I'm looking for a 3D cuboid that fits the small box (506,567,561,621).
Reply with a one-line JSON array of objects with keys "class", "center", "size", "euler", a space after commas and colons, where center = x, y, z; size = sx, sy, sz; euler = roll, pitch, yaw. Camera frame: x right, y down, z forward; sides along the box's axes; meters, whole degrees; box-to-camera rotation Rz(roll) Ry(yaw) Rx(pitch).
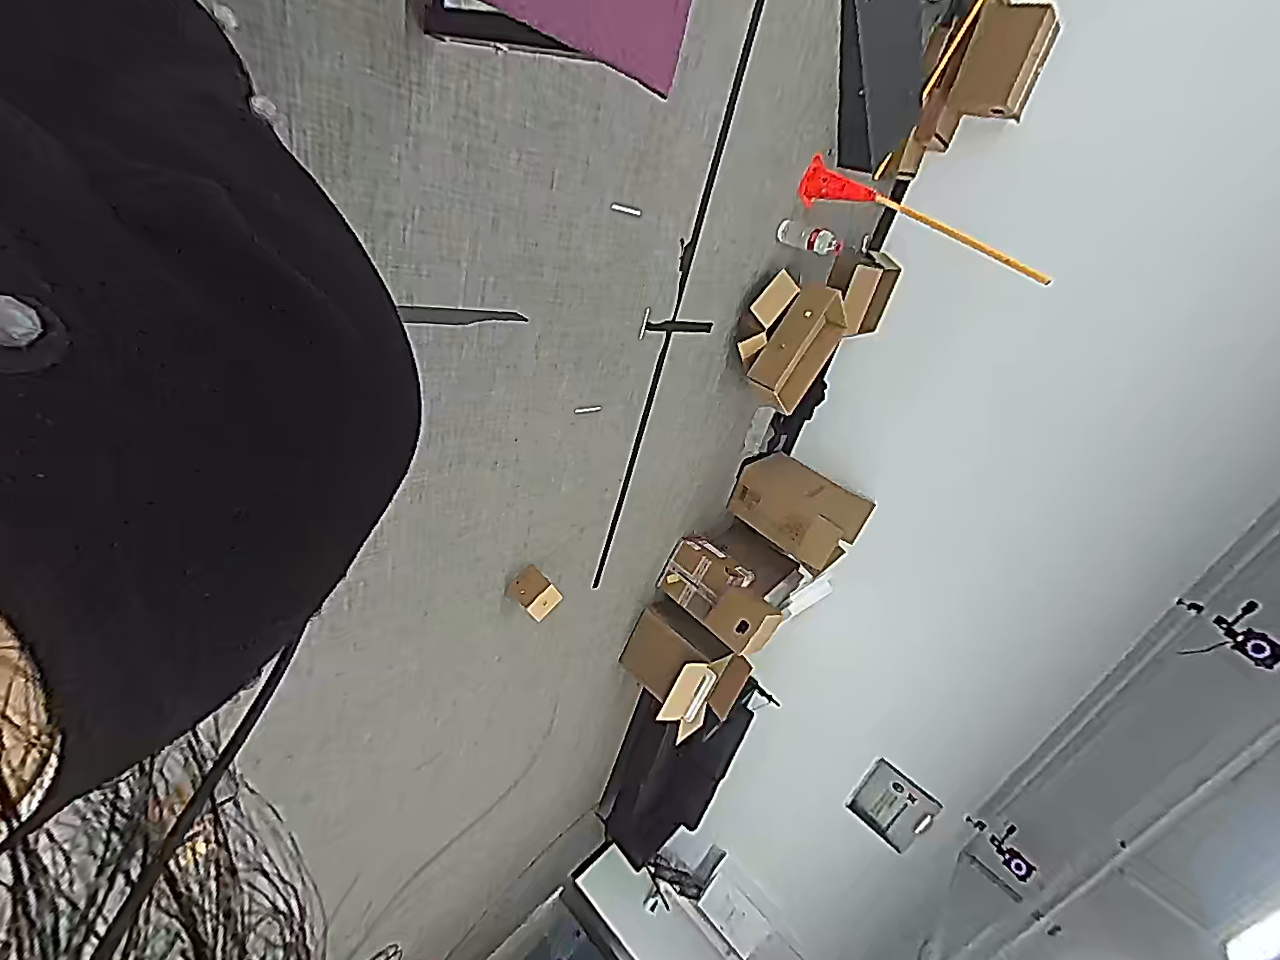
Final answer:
[{"class": "small box", "center": [-0.517, 0.546, 2.619], "size": [0.168, 0.176, 0.179], "euler": [-44, 149, -17]}]
